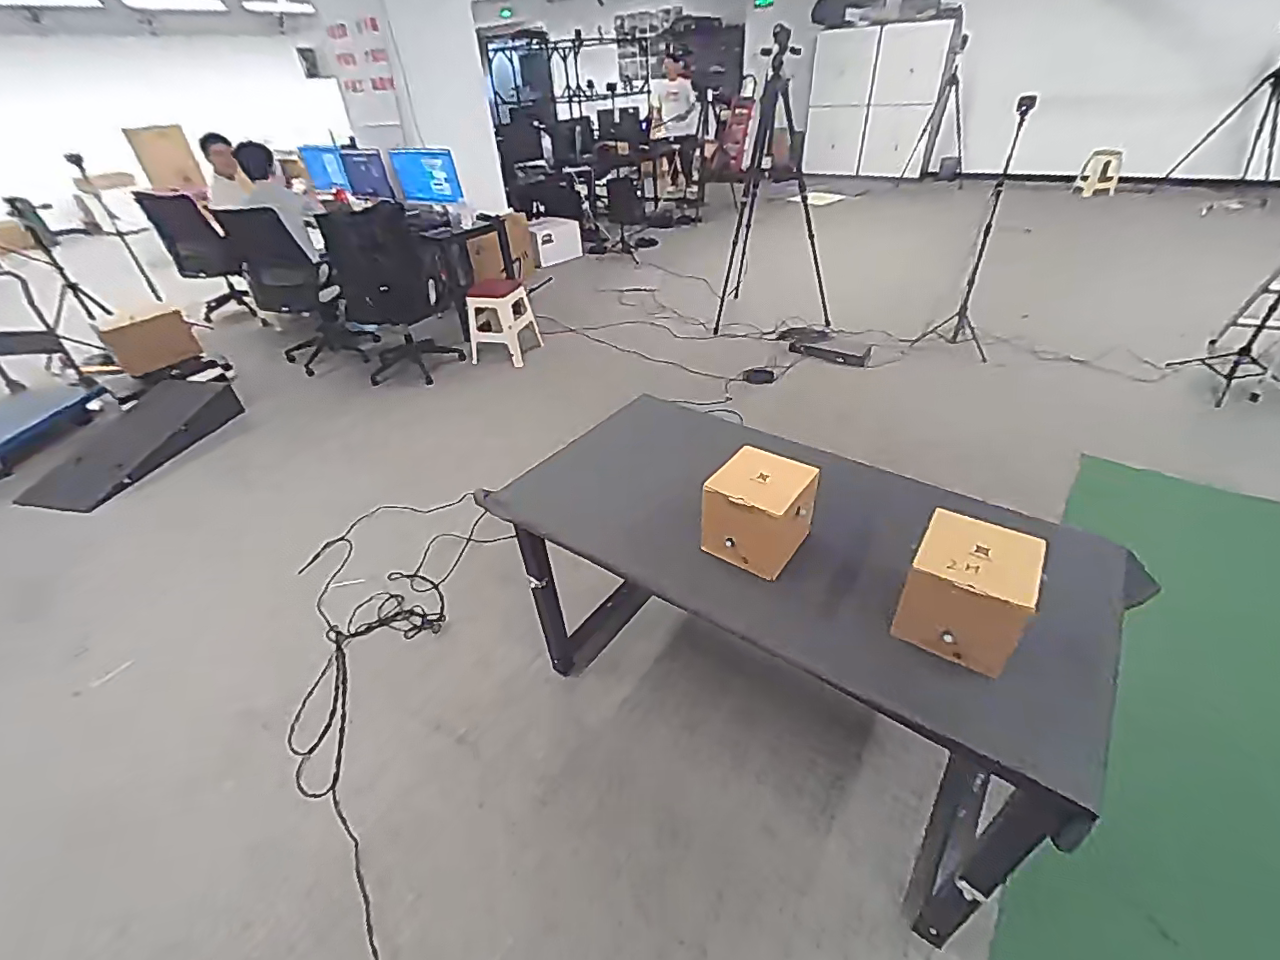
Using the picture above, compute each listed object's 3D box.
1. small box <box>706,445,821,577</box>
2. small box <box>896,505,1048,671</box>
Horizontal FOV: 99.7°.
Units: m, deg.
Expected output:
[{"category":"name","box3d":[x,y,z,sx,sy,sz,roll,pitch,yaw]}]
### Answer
[{"category":"small box","box3d":[0.243,0.060,1.096,0.168,0.176,0.179,22,44,31]},{"category":"small box","box3d":[0.545,0.176,0.900,0.168,0.176,0.179,20,43,31]}]
